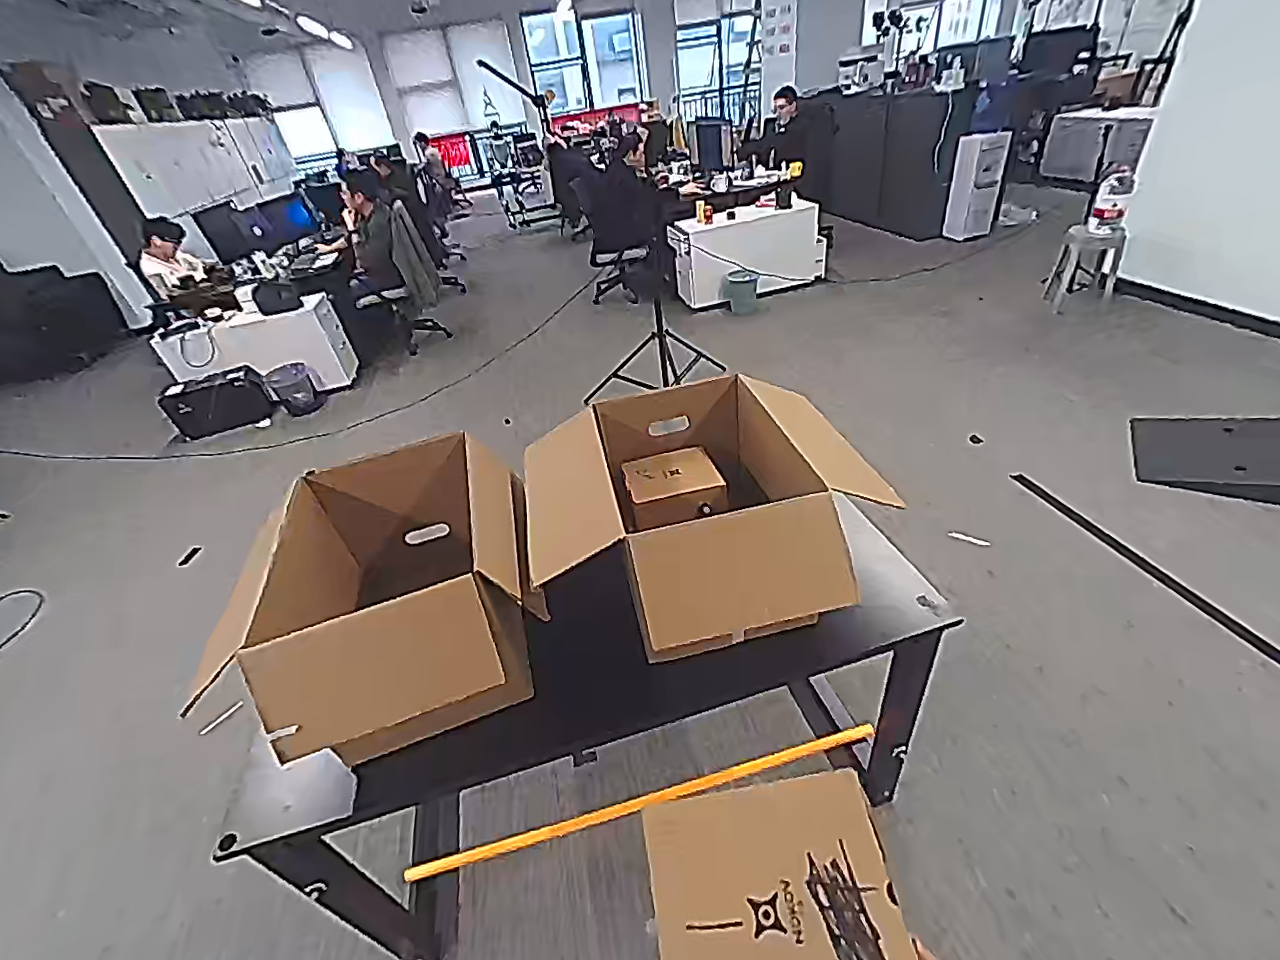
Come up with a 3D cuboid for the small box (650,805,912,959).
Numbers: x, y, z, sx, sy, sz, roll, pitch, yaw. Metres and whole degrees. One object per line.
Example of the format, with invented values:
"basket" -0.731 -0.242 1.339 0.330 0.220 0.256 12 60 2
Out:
"small box" 0.109 0.384 0.444 0.179 0.176 0.168 -10 50 0
